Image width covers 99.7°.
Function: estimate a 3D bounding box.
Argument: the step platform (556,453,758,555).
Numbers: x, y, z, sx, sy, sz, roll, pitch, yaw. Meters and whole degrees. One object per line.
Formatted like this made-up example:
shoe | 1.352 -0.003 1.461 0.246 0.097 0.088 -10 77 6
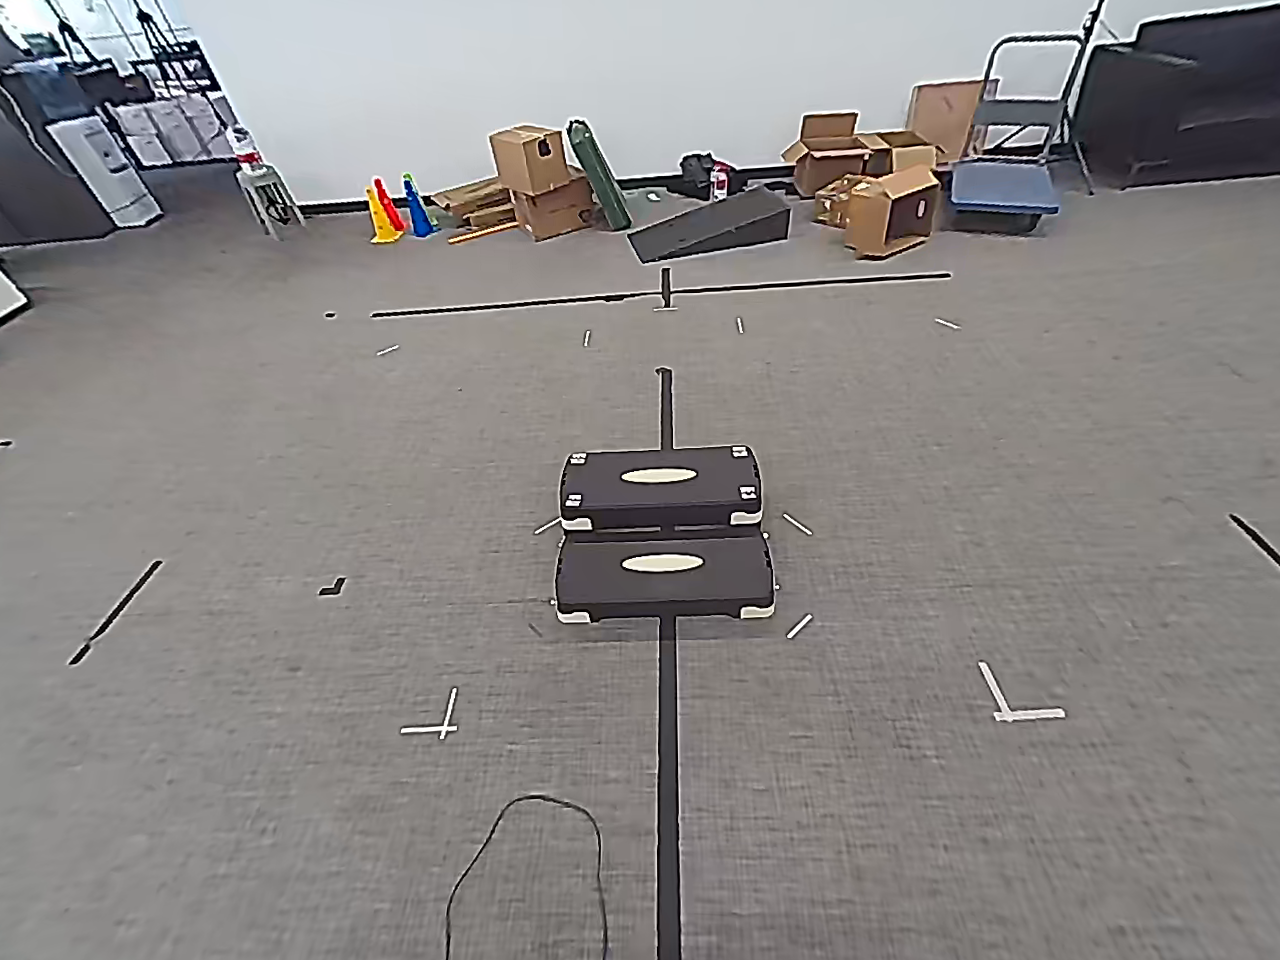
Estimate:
step platform | 0.056 0.075 1.854 0.684 0.204 0.286 -3 45 3
